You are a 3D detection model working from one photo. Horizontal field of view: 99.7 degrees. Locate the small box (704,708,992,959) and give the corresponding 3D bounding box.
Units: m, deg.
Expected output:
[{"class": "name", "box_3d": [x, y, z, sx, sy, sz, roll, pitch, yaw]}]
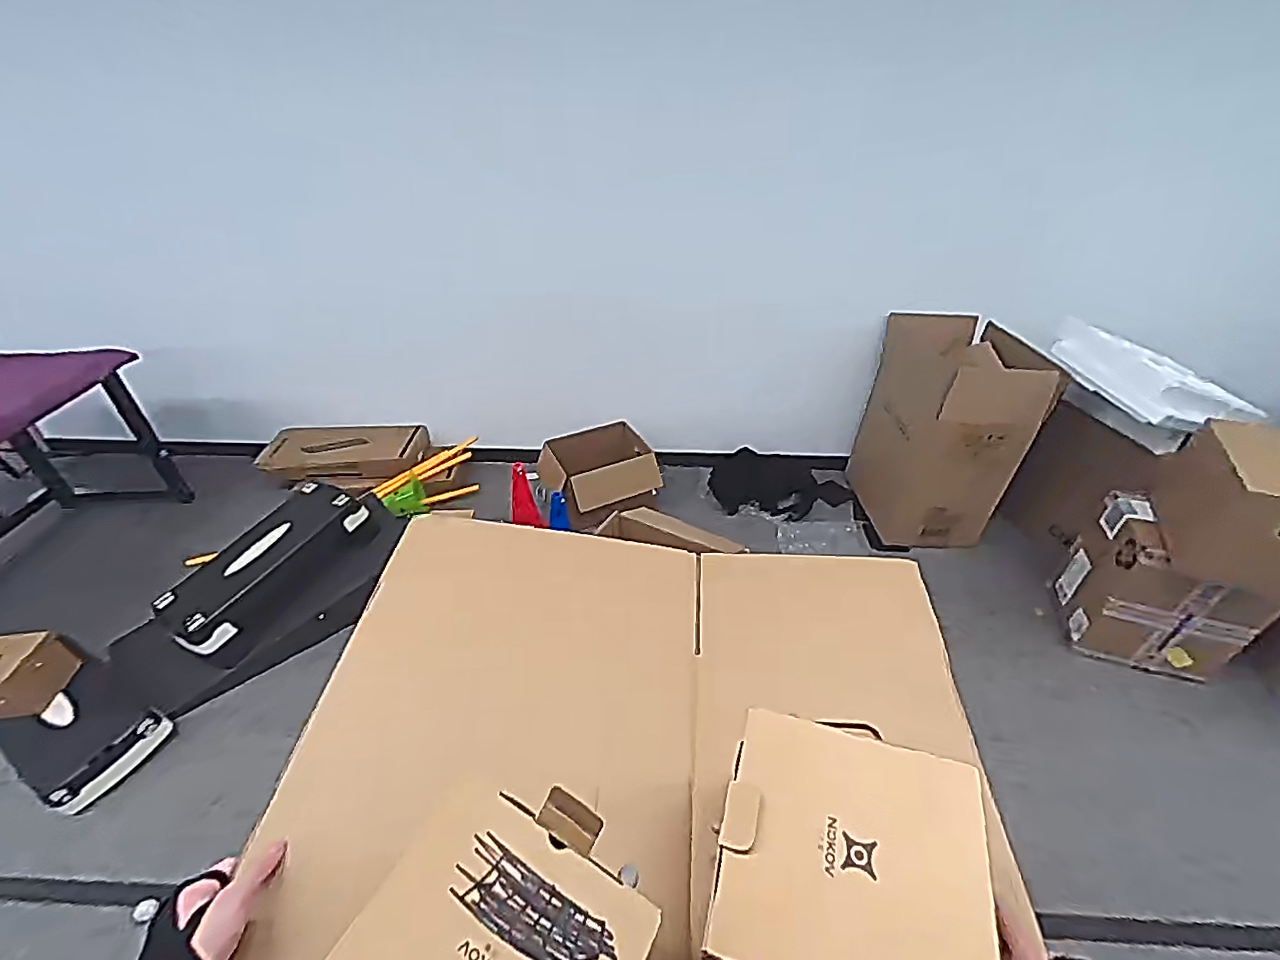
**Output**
[{"class": "small box", "box_3d": [0.156, 0.319, 0.441, 0.179, 0.176, 0.168, 9, 47, 16]}]
